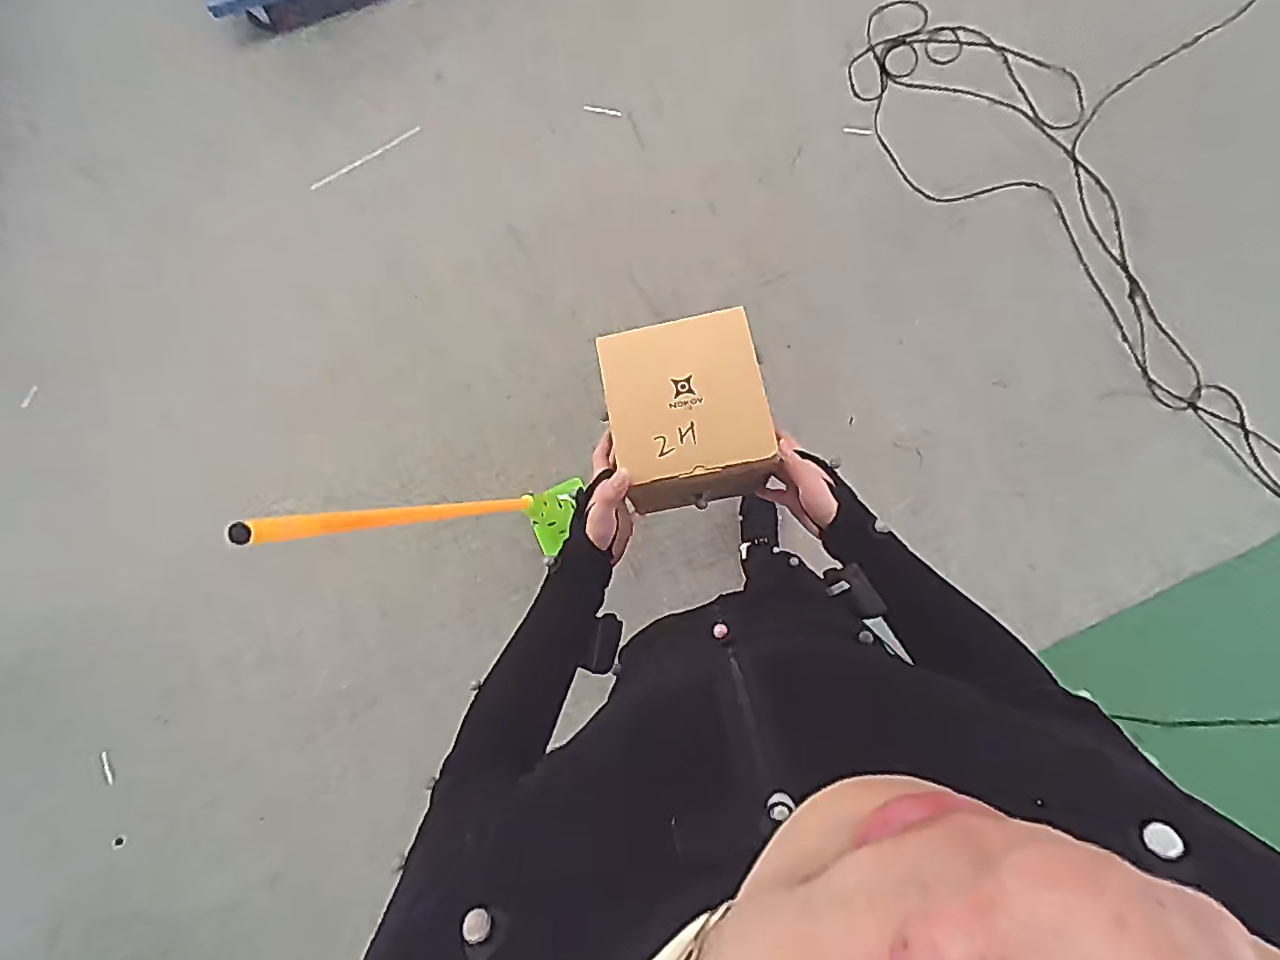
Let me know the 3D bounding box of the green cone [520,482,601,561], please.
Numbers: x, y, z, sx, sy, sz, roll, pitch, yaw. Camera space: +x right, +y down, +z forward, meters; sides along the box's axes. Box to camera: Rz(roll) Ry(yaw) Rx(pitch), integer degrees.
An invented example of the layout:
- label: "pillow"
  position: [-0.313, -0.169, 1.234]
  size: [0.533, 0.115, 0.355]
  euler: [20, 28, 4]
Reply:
- label: "green cone"
  position: [-0.260, 0.099, 1.500]
  size: [0.202, 0.368, 0.200]
  euler: [-25, 79, 1]
